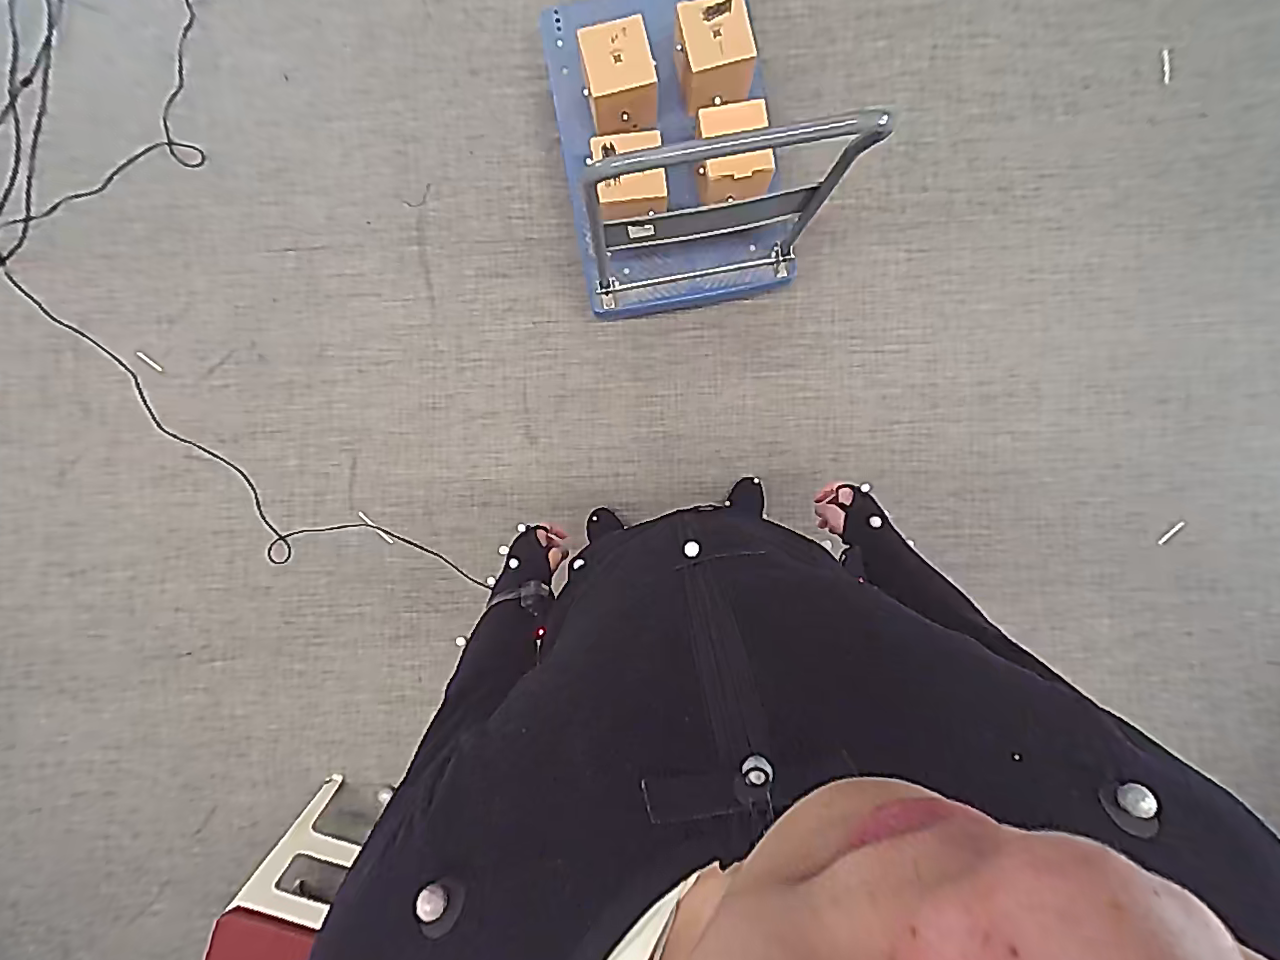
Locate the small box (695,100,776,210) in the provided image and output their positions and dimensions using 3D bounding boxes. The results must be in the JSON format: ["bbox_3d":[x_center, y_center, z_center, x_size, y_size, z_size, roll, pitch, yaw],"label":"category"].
[{"bbox_3d":[0.242,-0.840,1.409,0.168,0.176,0.179,-9,90,1],"label":"small box"}]

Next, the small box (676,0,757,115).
[{"bbox_3d":[0.193,-1.106,1.412,0.168,0.176,0.179,-14,90,2],"label":"small box"}]

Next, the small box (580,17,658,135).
[{"bbox_3d":[-0.050,-1.044,1.416,0.168,0.176,0.179,-14,89,0],"label":"small box"}]
